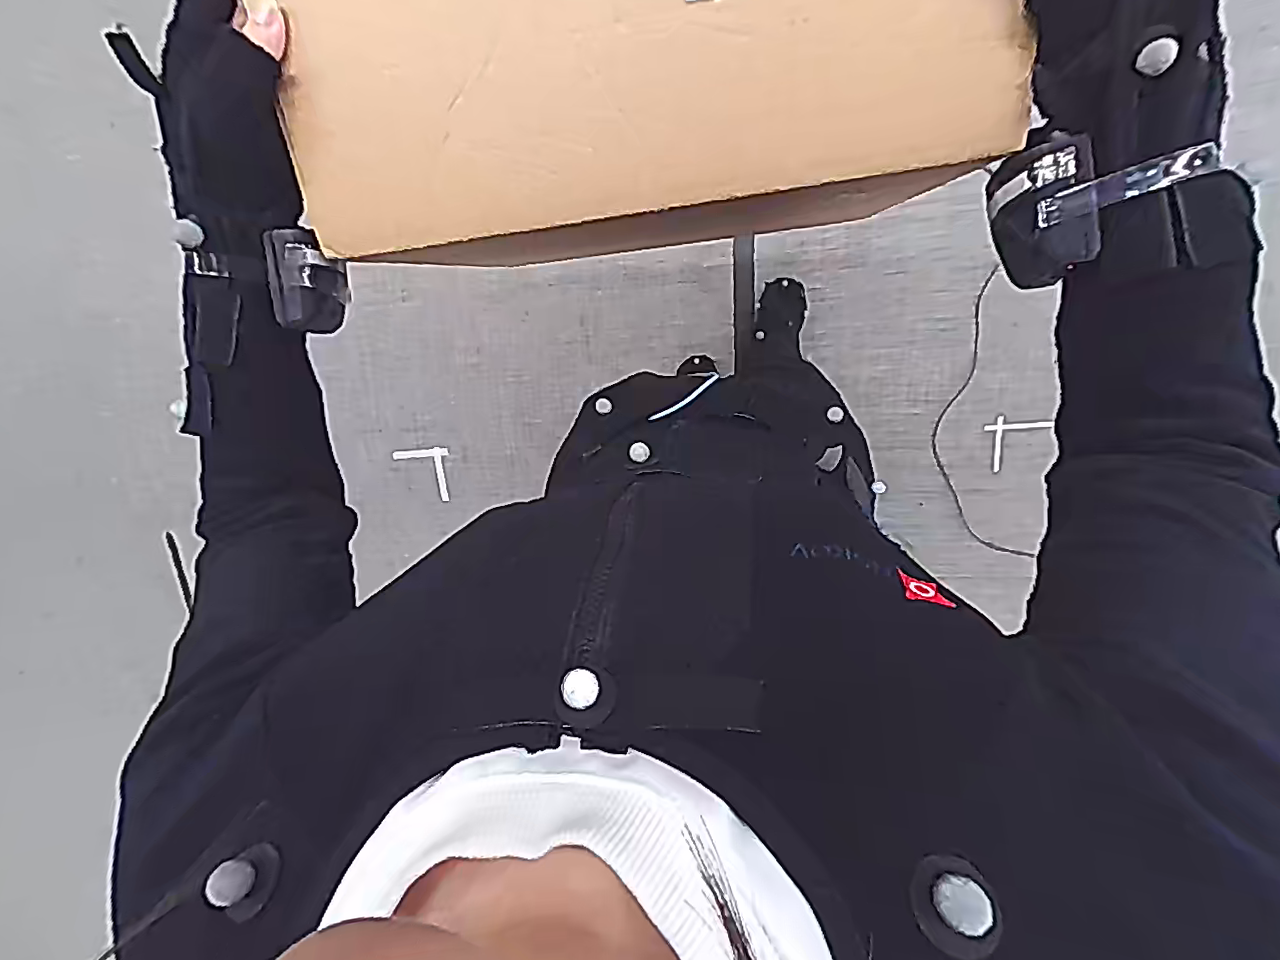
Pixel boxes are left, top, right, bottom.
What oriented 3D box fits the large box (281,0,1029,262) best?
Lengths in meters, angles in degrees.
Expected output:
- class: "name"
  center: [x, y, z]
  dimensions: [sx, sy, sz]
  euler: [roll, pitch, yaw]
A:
- class: "large box"
  center: [0.005, -0.362, 0.409]
  dimensions: [0.408, 0.320, 0.320]
  euler: [-4, 110, 10]
